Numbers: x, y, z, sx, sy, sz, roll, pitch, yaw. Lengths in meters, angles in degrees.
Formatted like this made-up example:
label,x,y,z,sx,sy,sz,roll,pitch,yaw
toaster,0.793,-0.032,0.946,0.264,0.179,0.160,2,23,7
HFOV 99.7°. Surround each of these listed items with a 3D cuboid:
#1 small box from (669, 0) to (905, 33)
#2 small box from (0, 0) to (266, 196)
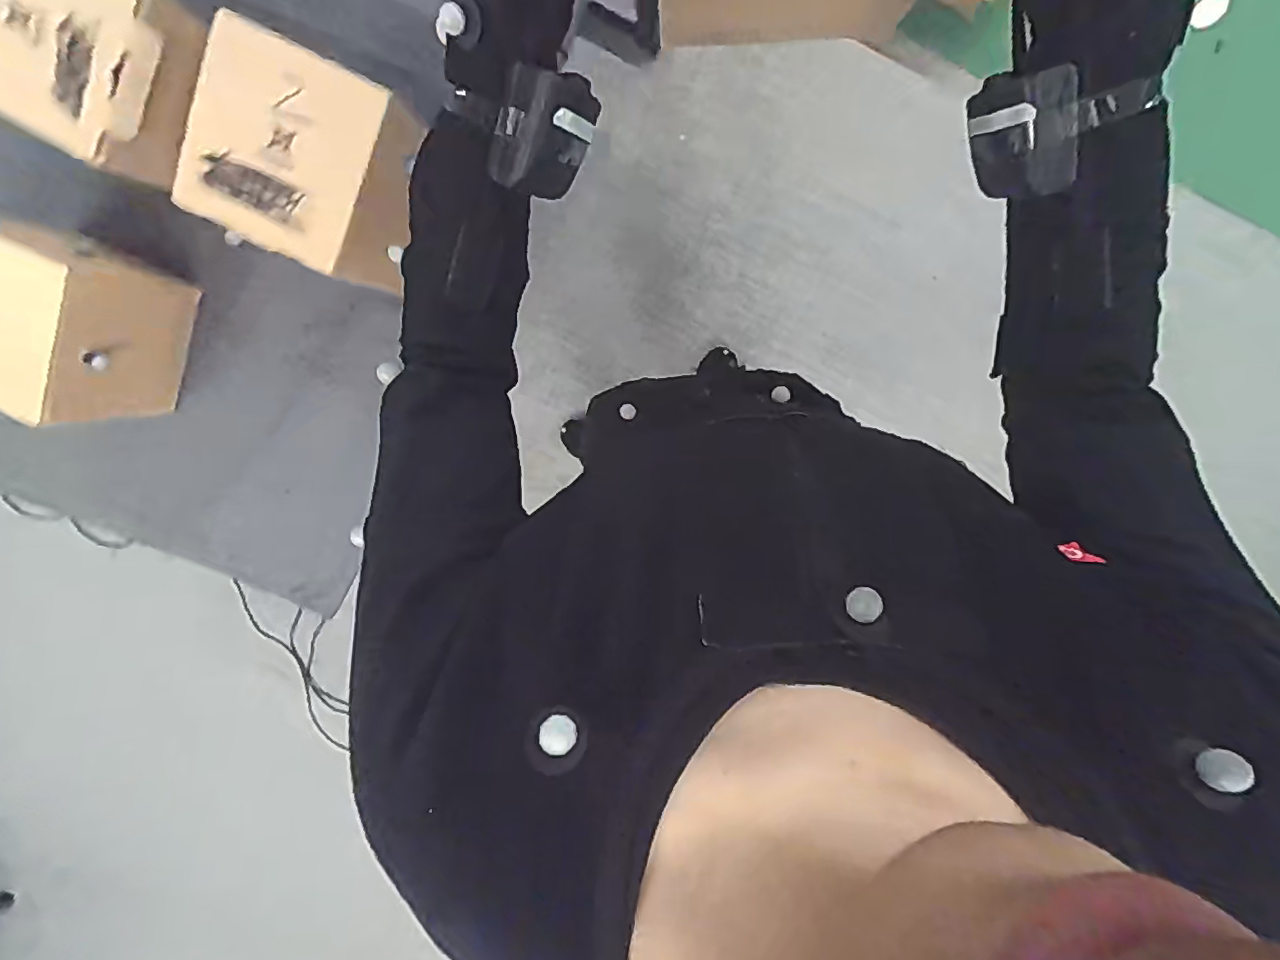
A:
label,x,y,z,sx,sy,sz,roll,pitch,yaw
small box,0.105,-0.395,0.313,0.179,0.176,0.168,1,109,4
small box,-0.542,-0.425,0.561,0.179,0.176,0.168,29,102,-4
